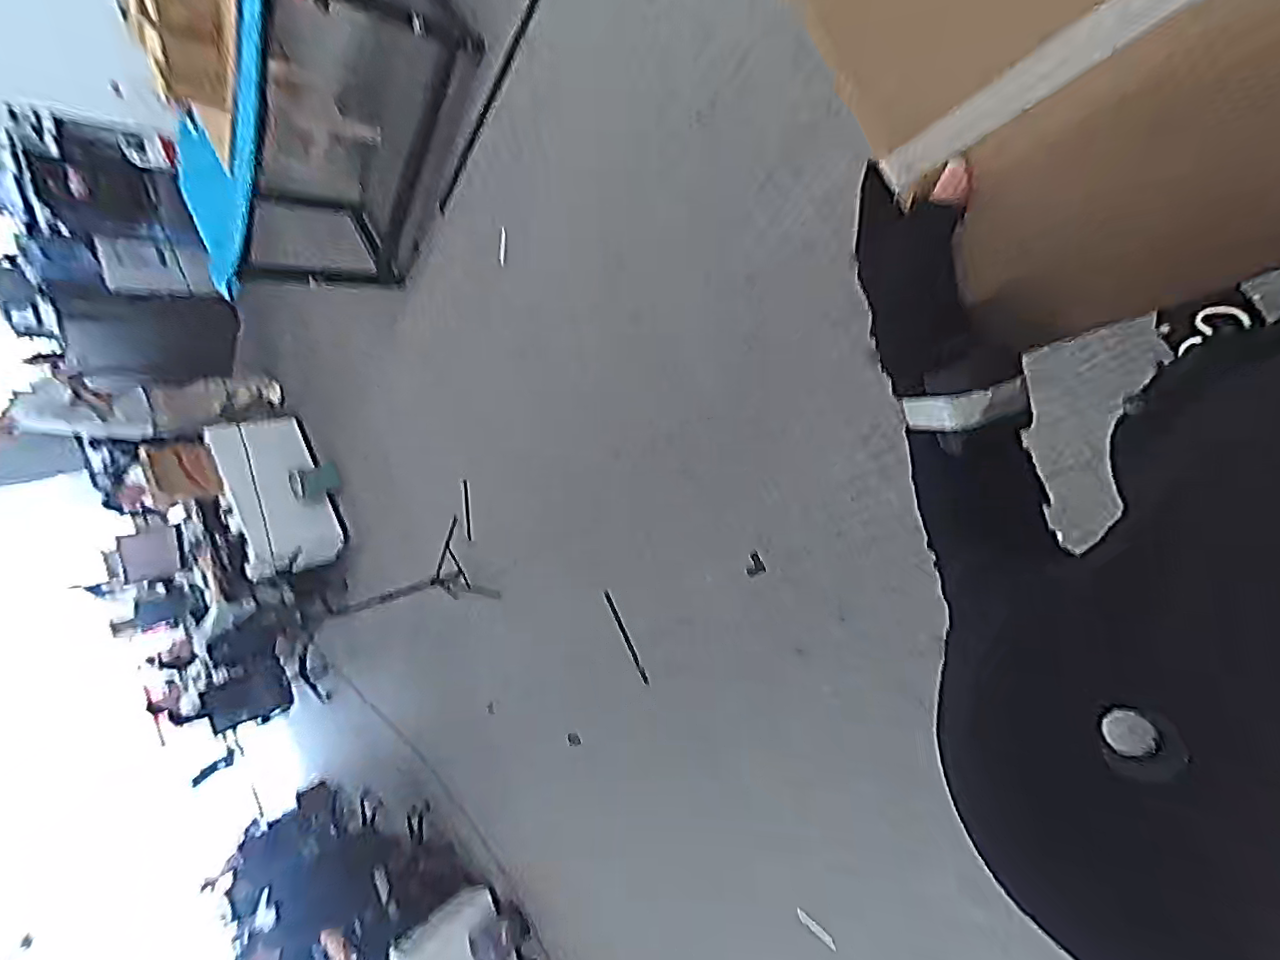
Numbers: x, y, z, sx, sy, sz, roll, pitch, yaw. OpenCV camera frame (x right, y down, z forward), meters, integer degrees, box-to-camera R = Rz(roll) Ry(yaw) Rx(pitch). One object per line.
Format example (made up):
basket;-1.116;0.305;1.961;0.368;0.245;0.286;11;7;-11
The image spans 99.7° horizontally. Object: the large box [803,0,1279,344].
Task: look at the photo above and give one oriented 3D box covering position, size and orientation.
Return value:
large box;0.358;-0.346;0.283;0.320;0.320;0.408;48;145;-18
